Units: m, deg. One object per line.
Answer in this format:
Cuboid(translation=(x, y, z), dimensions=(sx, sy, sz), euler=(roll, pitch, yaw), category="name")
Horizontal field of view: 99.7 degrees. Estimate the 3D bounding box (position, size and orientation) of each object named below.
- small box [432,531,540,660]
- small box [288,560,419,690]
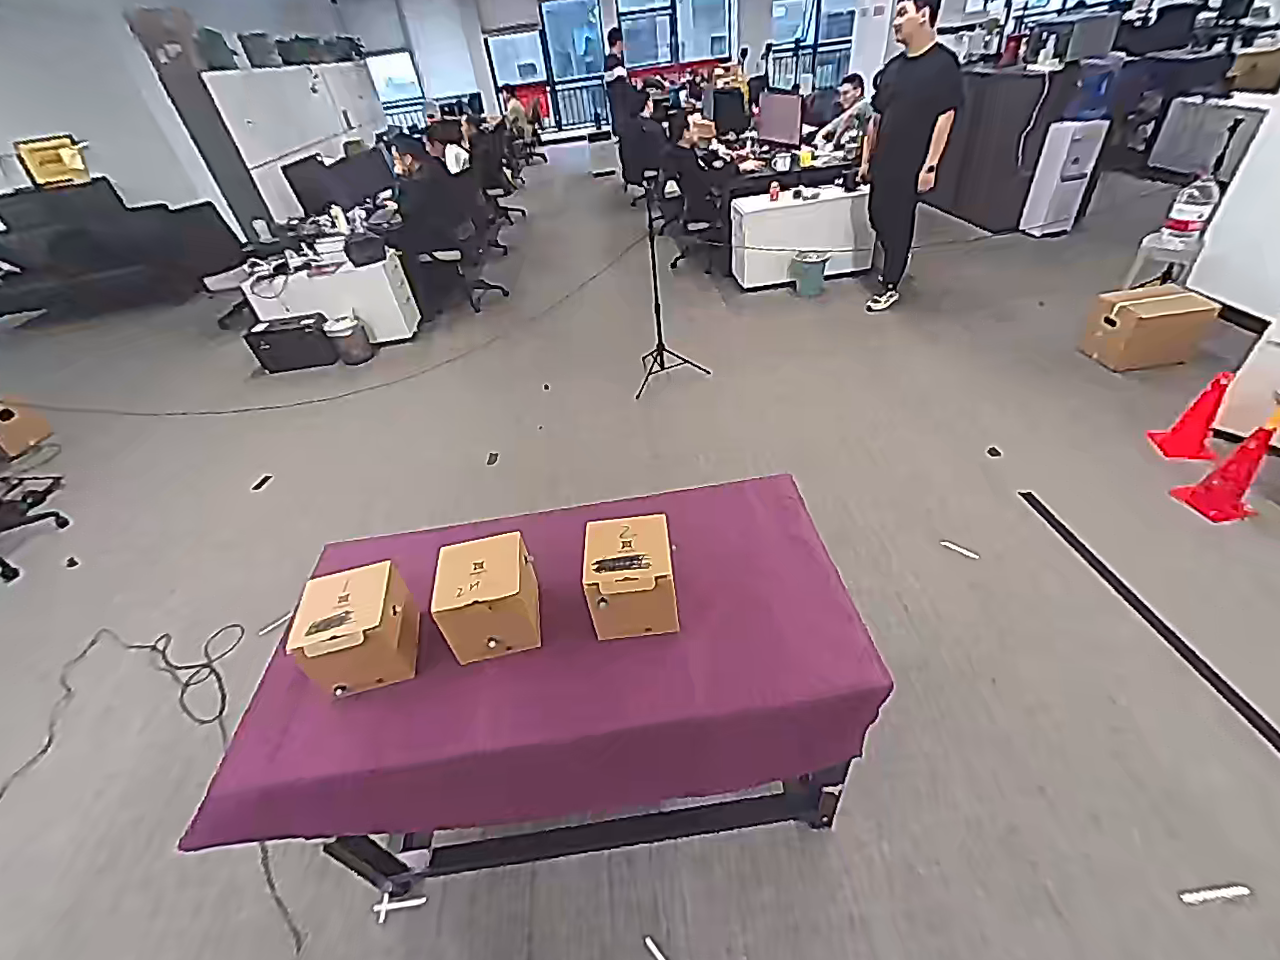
Cuboid(translation=(-0.305, 0.235, 1.103), dimensions=(0.168, 0.176, 0.179), euler=(-12, 39, -3), category="small box")
Cuboid(translation=(-0.554, 0.293, 1.075), dimensions=(0.168, 0.176, 0.179), euler=(-14, 38, -7), category="small box")
